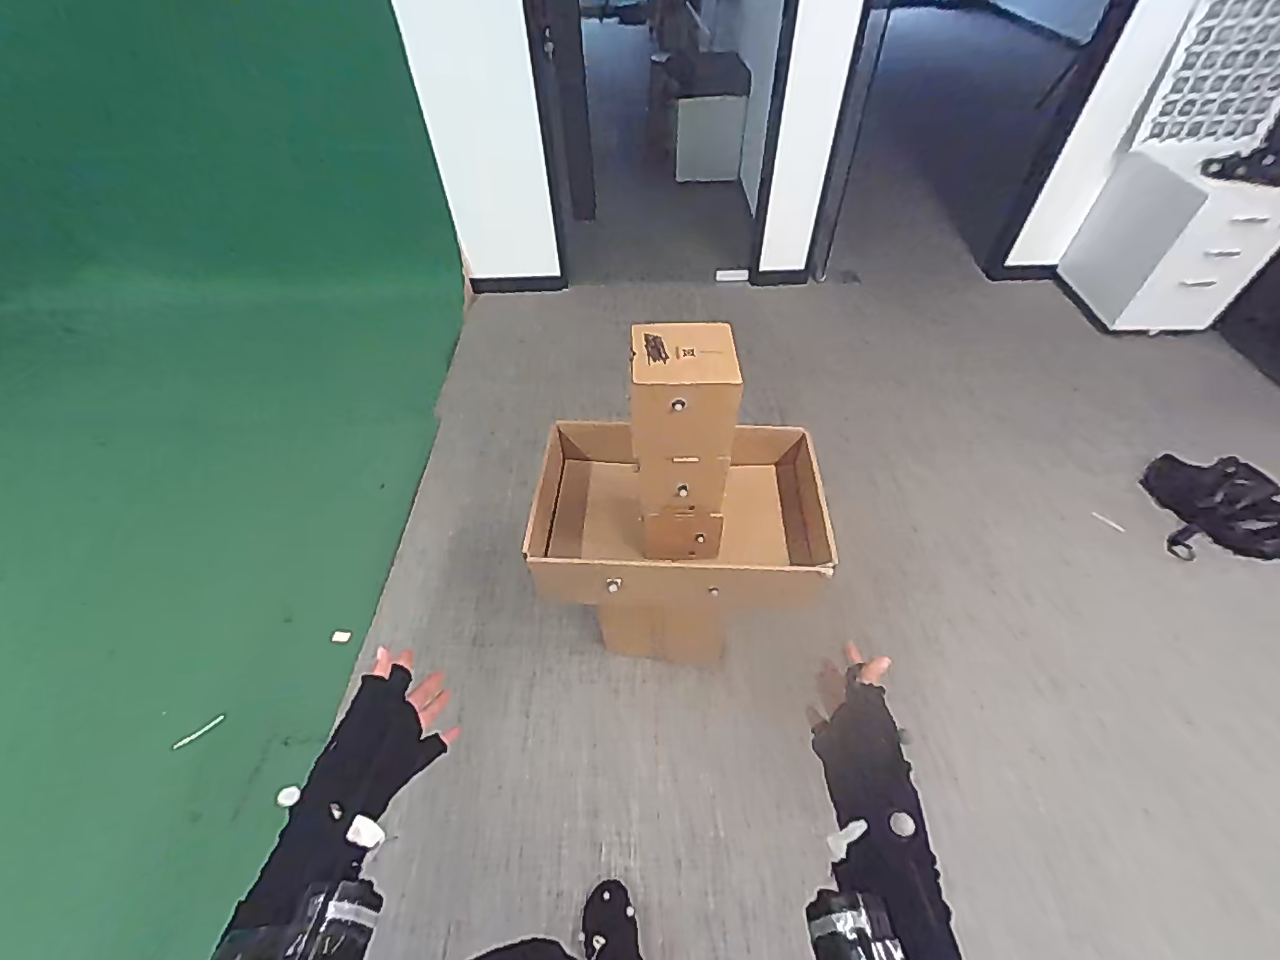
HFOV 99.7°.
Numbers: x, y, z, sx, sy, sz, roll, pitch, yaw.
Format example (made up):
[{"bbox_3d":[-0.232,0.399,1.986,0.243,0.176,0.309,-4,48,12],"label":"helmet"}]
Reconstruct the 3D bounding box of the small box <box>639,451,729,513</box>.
[{"bbox_3d":[0.084,-0.047,1.086,0.168,0.176,0.179,1,50,1],"label":"small box"}]

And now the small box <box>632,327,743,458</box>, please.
[{"bbox_3d":[0.076,-0.152,0.959,0.179,0.176,0.168,0,49,-1],"label":"small box"}]

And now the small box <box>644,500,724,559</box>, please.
[{"bbox_3d":[0.092,0.062,1.208,0.168,0.176,0.179,1,48,0],"label":"small box"}]
